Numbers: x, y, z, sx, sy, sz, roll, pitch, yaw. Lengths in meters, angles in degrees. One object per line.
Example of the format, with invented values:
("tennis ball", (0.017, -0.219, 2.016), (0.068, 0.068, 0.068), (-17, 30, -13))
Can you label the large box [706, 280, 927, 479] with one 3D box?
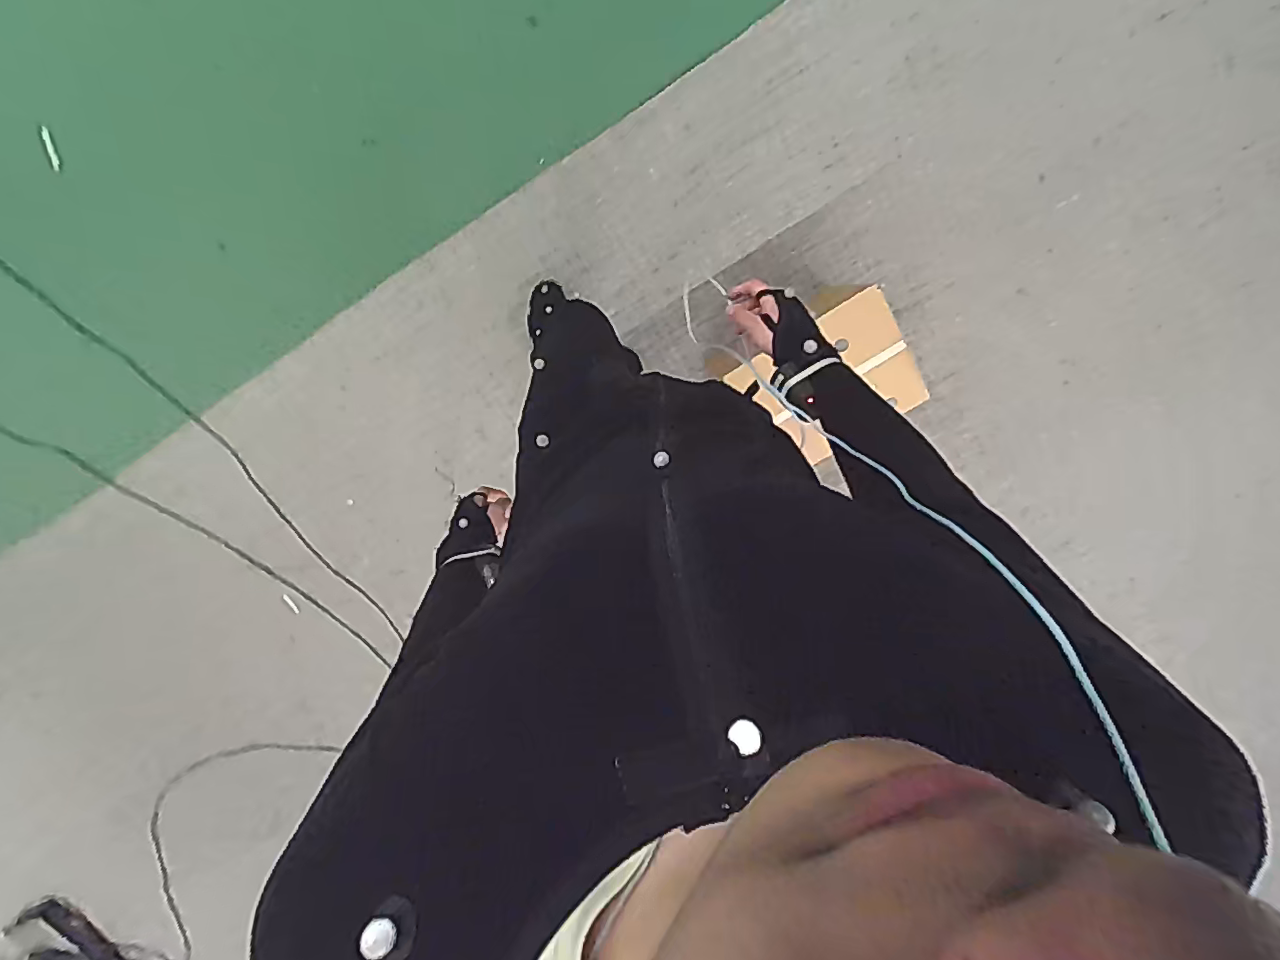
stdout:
("large box", (0.435, -0.265, 1.419), (0.408, 0.320, 0.320), (-32, 105, 8))
